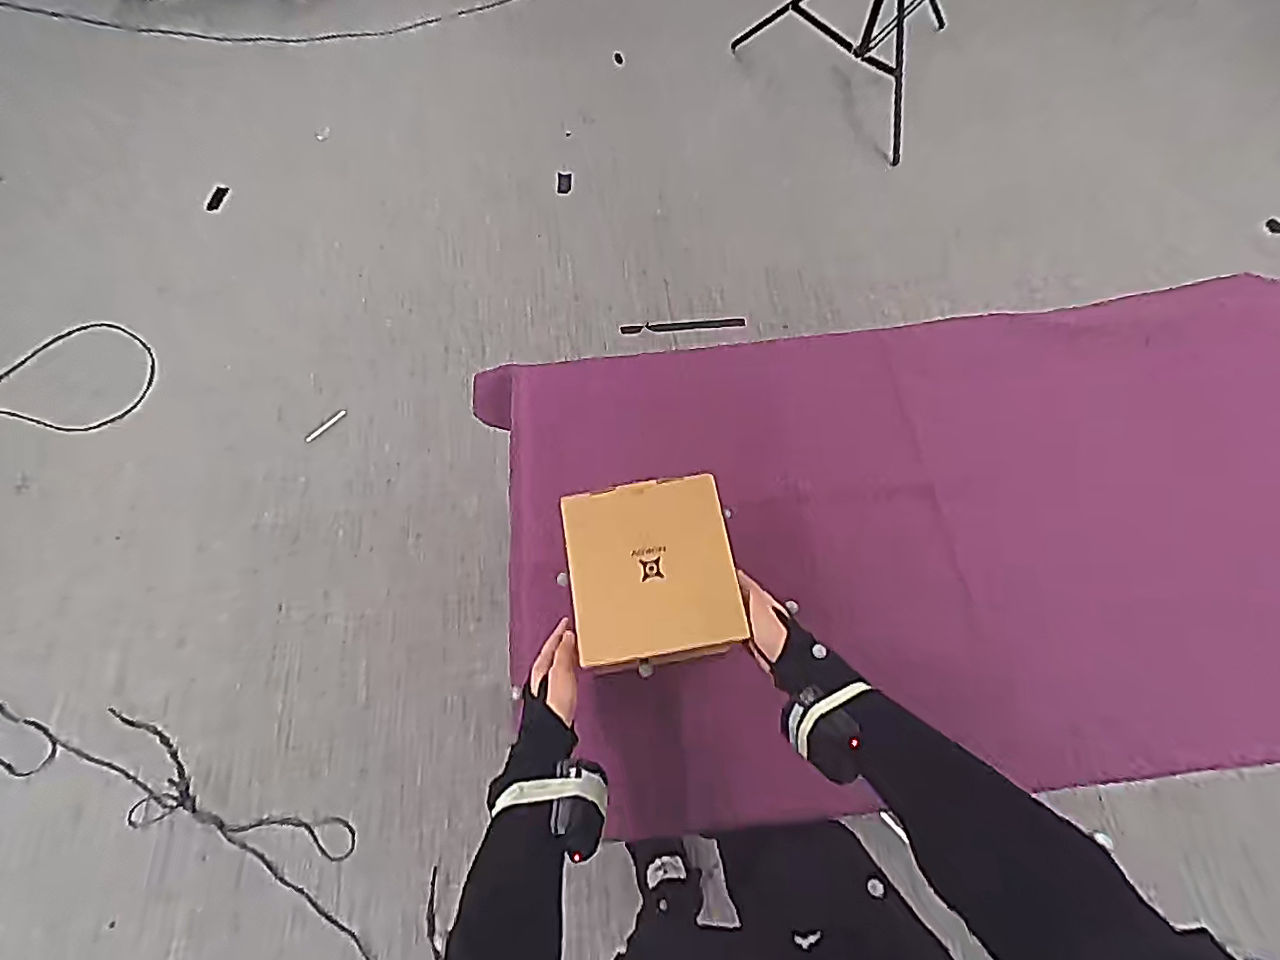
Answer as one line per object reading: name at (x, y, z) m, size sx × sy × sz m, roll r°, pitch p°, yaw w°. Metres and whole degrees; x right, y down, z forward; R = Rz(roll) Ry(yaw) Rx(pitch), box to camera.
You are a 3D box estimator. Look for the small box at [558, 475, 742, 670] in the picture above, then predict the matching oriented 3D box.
small box at (0.009, 0.116, 0.618) m, size 0.168 × 0.176 × 0.179 m, roll -10°, pitch 67°, yaw -2°
